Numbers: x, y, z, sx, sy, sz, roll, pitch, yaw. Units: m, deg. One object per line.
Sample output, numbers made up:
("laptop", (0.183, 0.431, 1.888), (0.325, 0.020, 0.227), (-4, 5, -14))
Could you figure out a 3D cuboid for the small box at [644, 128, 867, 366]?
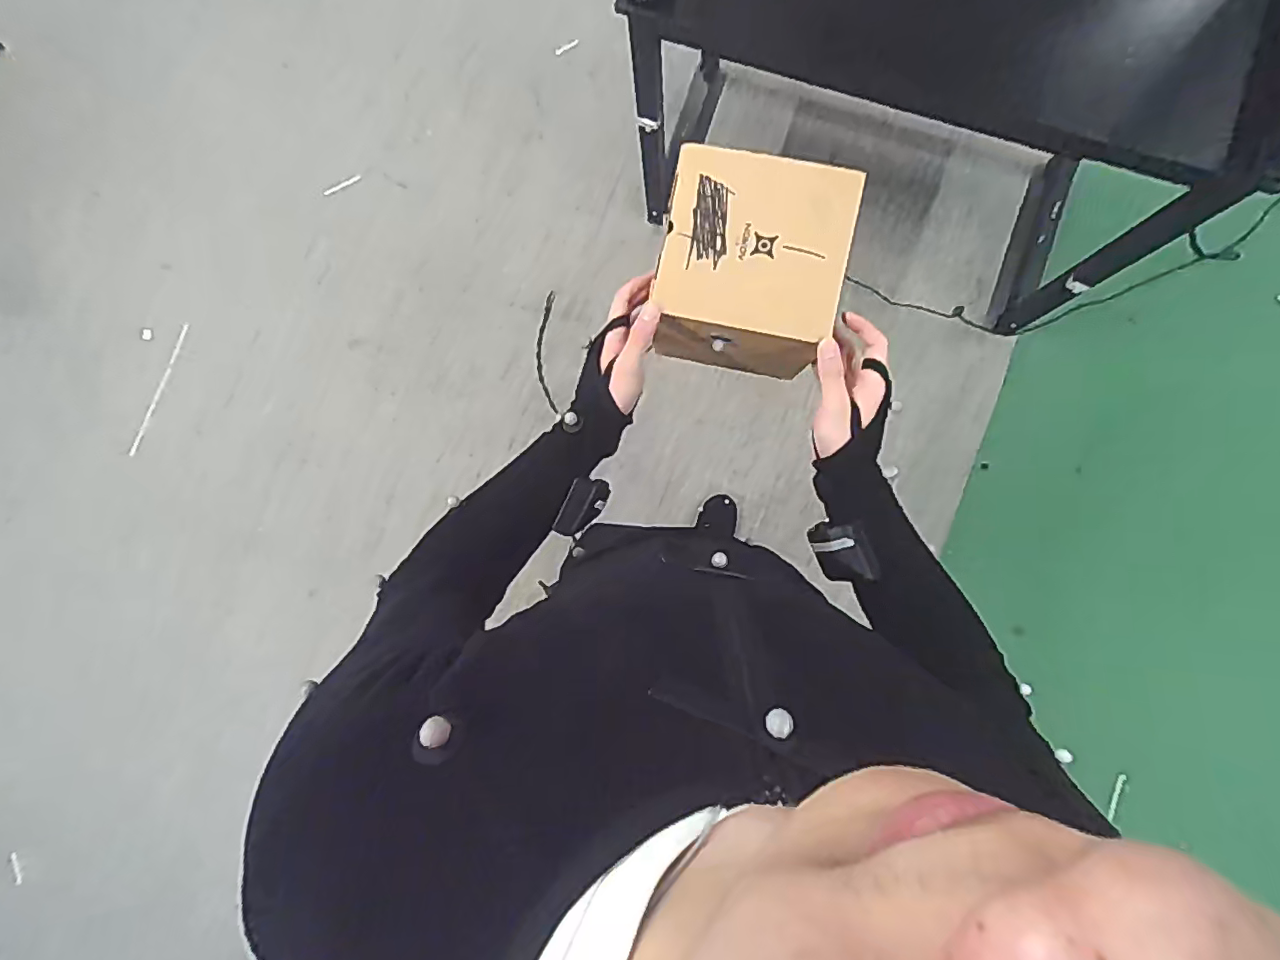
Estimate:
("small box", (0.111, -0.230, 0.576), (0.179, 0.176, 0.168), (12, 91, 4))
